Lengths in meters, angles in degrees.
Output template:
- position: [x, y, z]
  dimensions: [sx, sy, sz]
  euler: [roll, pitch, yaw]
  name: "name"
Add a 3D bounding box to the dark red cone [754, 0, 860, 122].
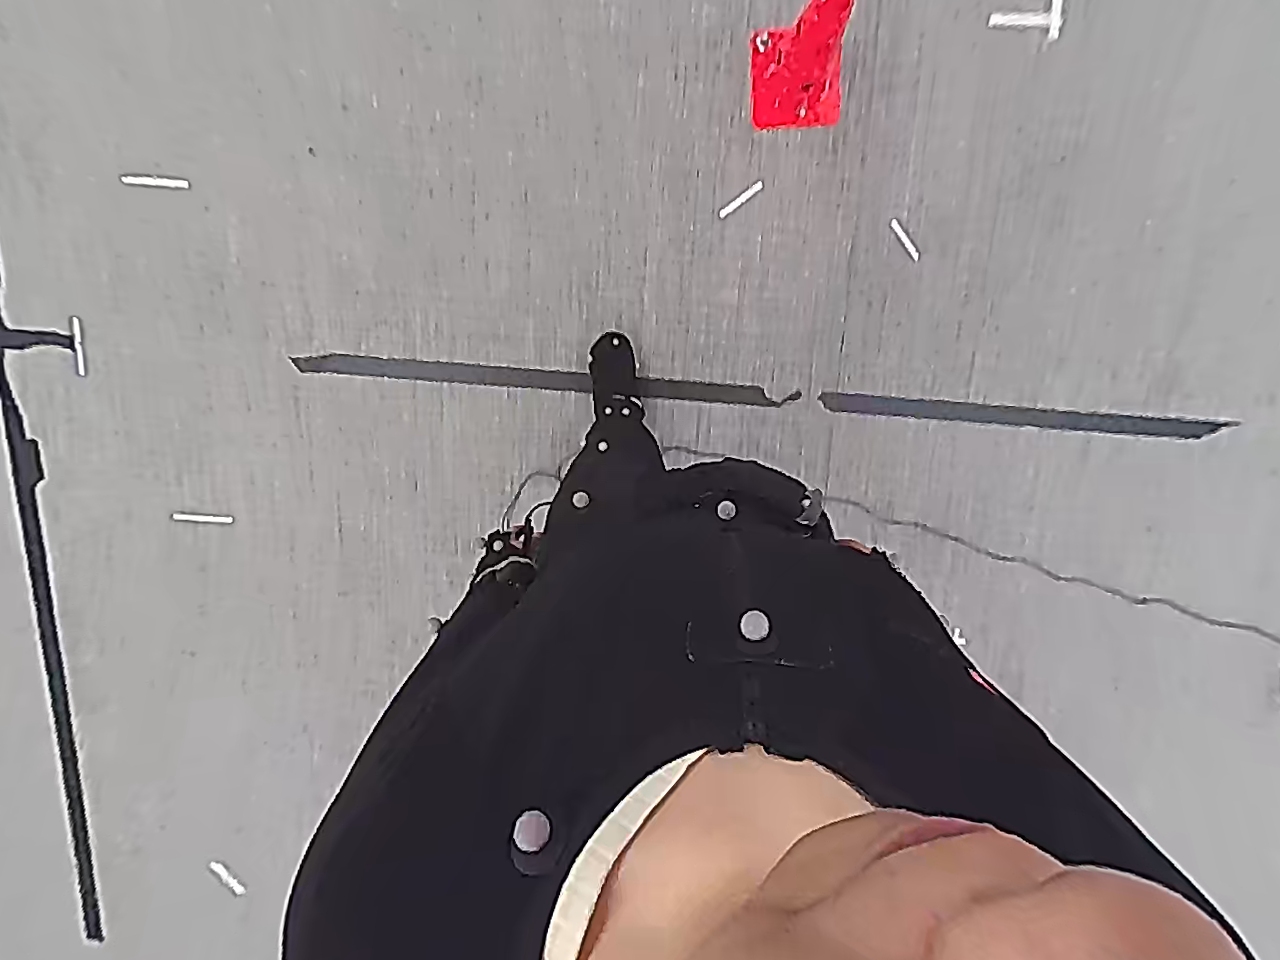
- position: [0.344, -0.855, 1.005]
  dimensions: [0.202, 0.394, 0.201]
  euler: [-4, 101, 1]
  name: "dark red cone"
